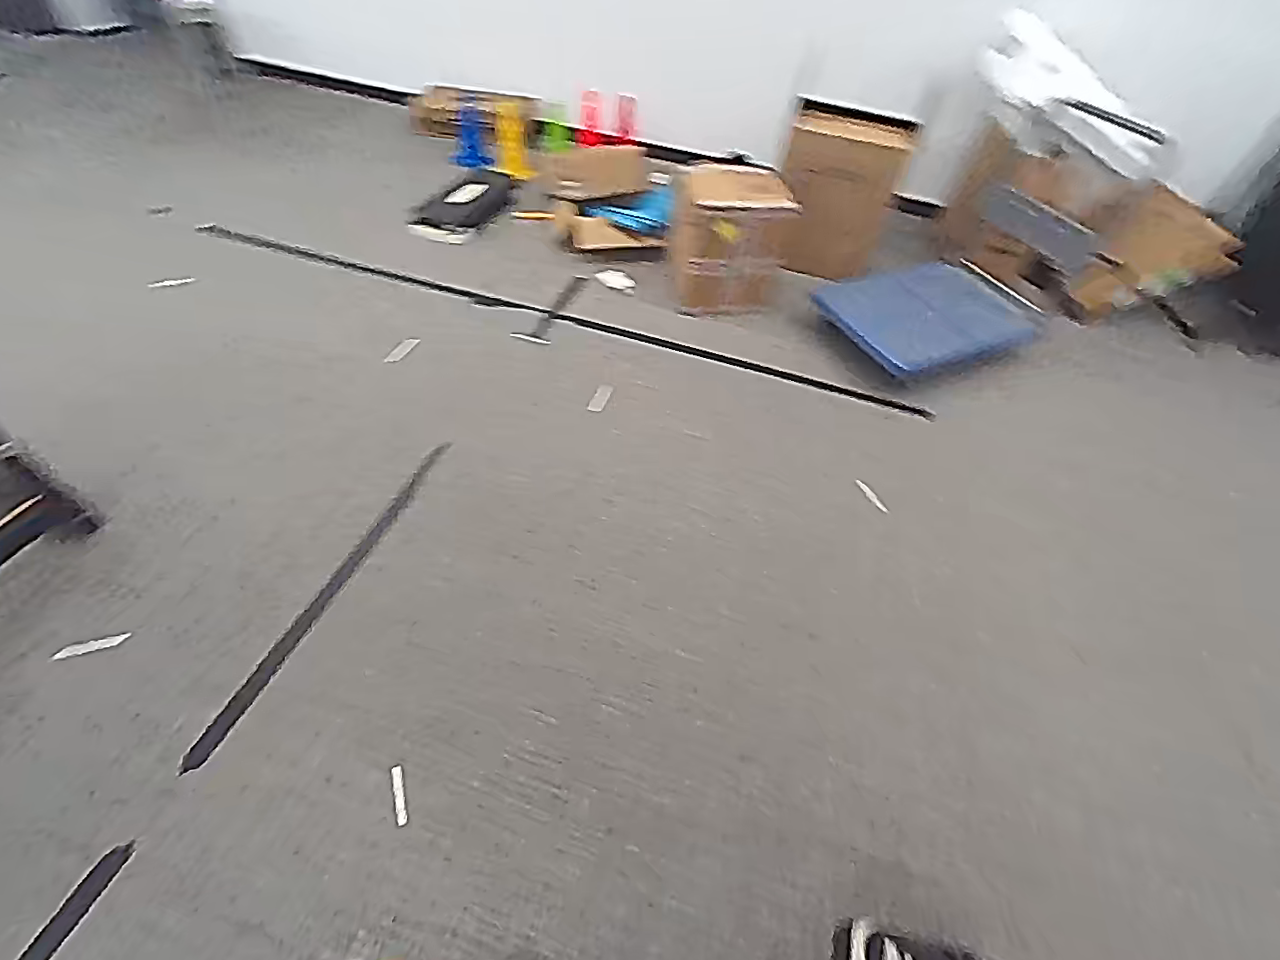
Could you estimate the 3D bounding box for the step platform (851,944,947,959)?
[{"bbox_3d":[0.454,1.122,0.772,0.286,0.204,0.684,17,49,7],"label":"step platform"}]
